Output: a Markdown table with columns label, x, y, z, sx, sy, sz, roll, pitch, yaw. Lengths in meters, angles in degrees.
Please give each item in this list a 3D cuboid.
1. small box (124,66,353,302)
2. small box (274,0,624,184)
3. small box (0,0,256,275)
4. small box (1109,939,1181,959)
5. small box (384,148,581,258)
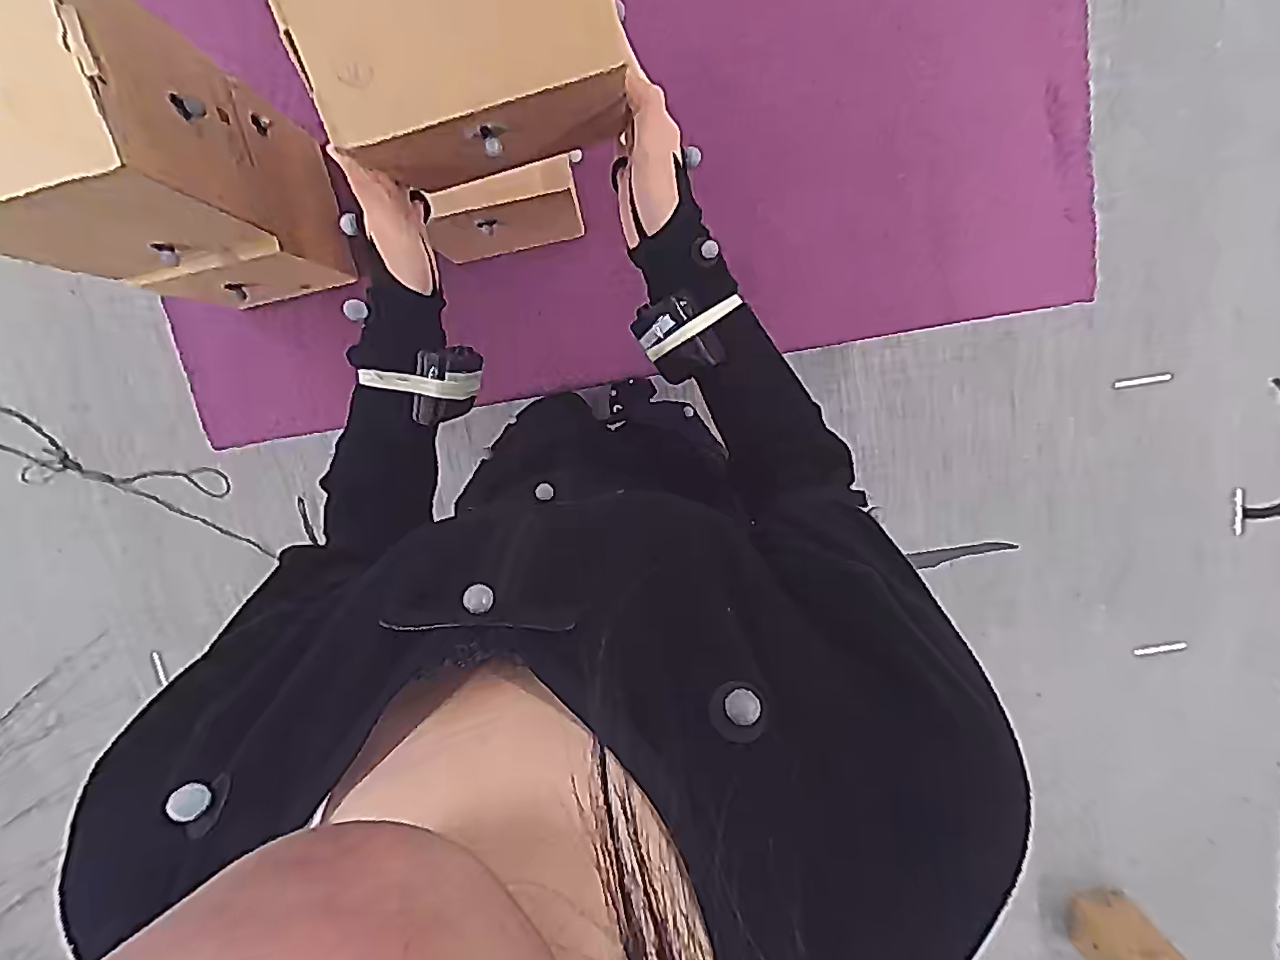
| label | x | y | z | sx | sy | sz | roll | pitch | yaw |
| --- | --- | --- | --- | --- | --- | --- | --- | --- | --- |
| small box | -0.463 | -0.311 | 0.614 | 0.168 | 0.176 | 0.179 | -13 | 99 | 1 |
| small box | -0.113 | -0.309 | 0.347 | 0.179 | 0.176 | 0.168 | -15 | 112 | 3 |
| small box | -0.467 | -0.289 | 0.452 | 0.179 | 0.176 | 0.168 | -15 | 99 | 1 |
| small box | 1.475 | 1.458 | 1.530 | 0.168 | 0.176 | 0.179 | -6 | 99 | -1 |
| small box | -0.173 | -0.366 | 0.608 | 0.179 | 0.176 | 0.168 | -12 | 100 | 0 |
